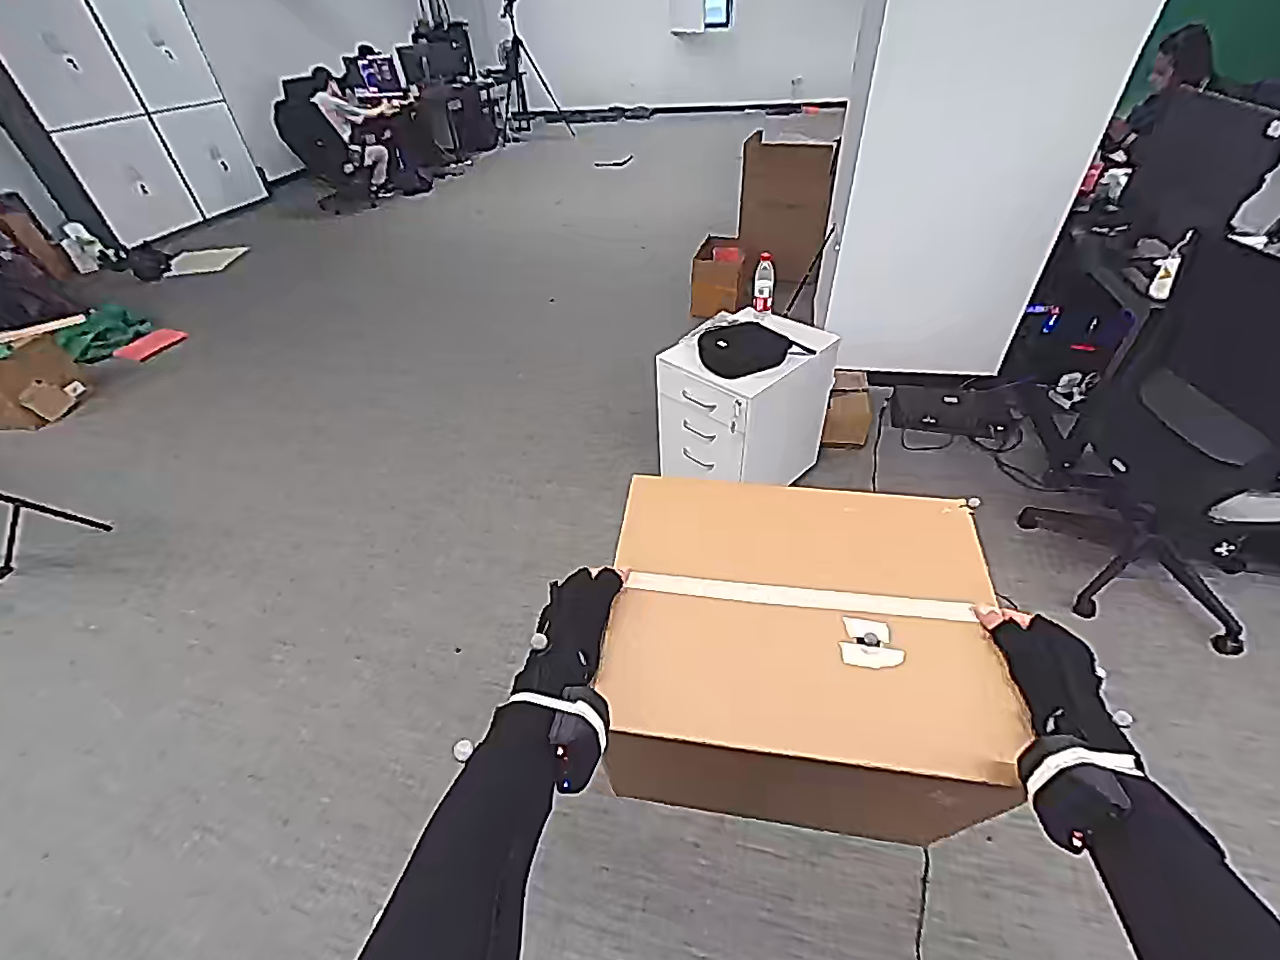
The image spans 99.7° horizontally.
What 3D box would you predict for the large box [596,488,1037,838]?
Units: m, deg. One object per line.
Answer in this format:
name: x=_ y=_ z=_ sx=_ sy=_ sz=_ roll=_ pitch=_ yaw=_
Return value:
large box: x=0.177 y=0.234 z=0.700 sx=0.408 sy=0.320 sz=0.320 roll=4 pitch=50 yaw=8
